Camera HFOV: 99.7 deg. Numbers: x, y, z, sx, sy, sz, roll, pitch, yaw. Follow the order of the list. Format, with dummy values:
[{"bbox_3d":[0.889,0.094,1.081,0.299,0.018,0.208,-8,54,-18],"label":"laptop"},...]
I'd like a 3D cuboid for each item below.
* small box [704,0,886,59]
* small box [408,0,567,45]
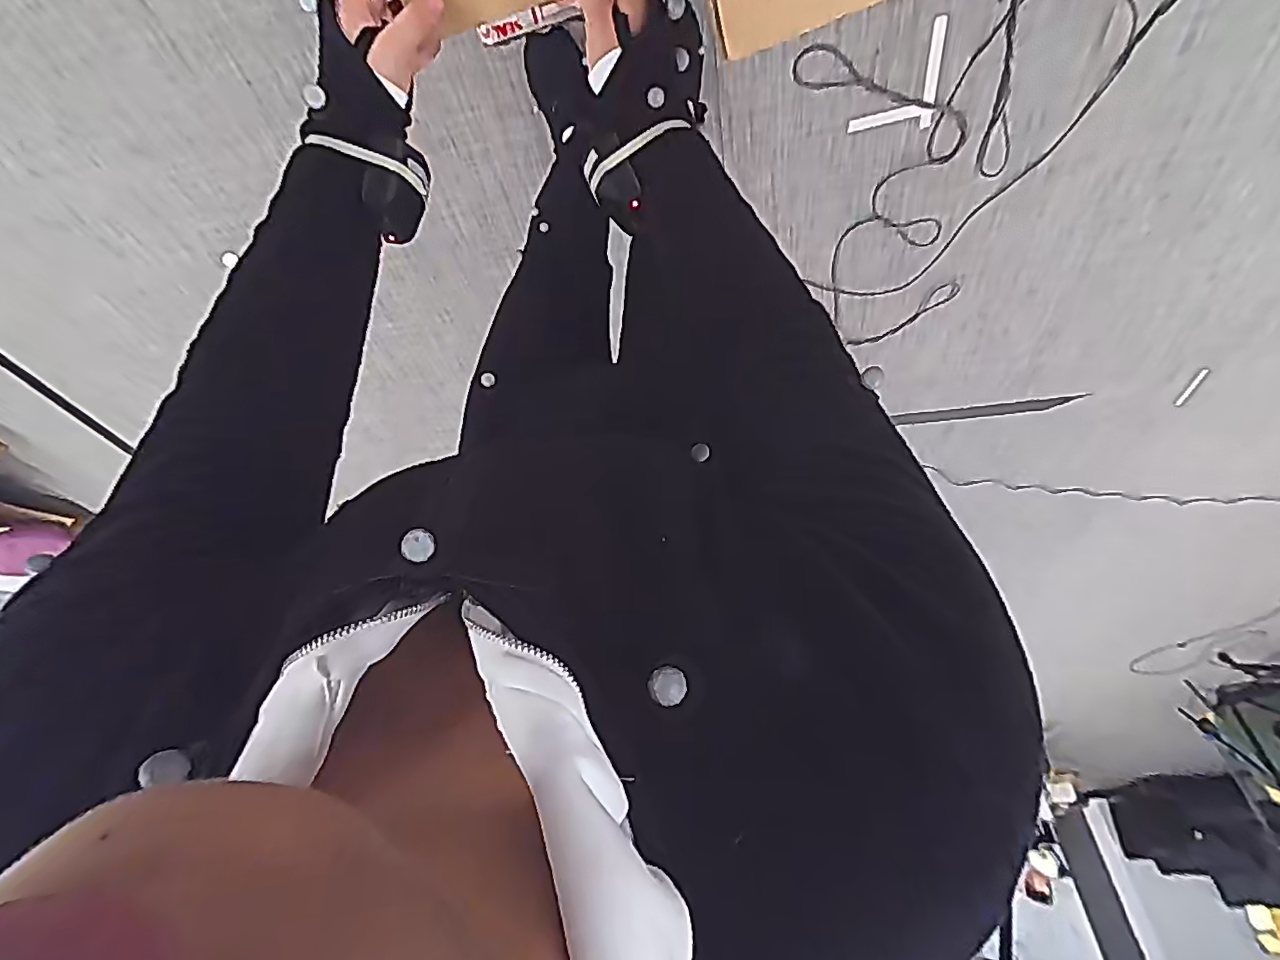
[{"bbox_3d":[0.103,-0.374,0.286,0.179,0.176,0.168,-13,143,14],"label":"small box"},{"bbox_3d":[-0.118,-0.487,0.412,0.168,0.176,0.179,-8,146,13],"label":"small box"}]
